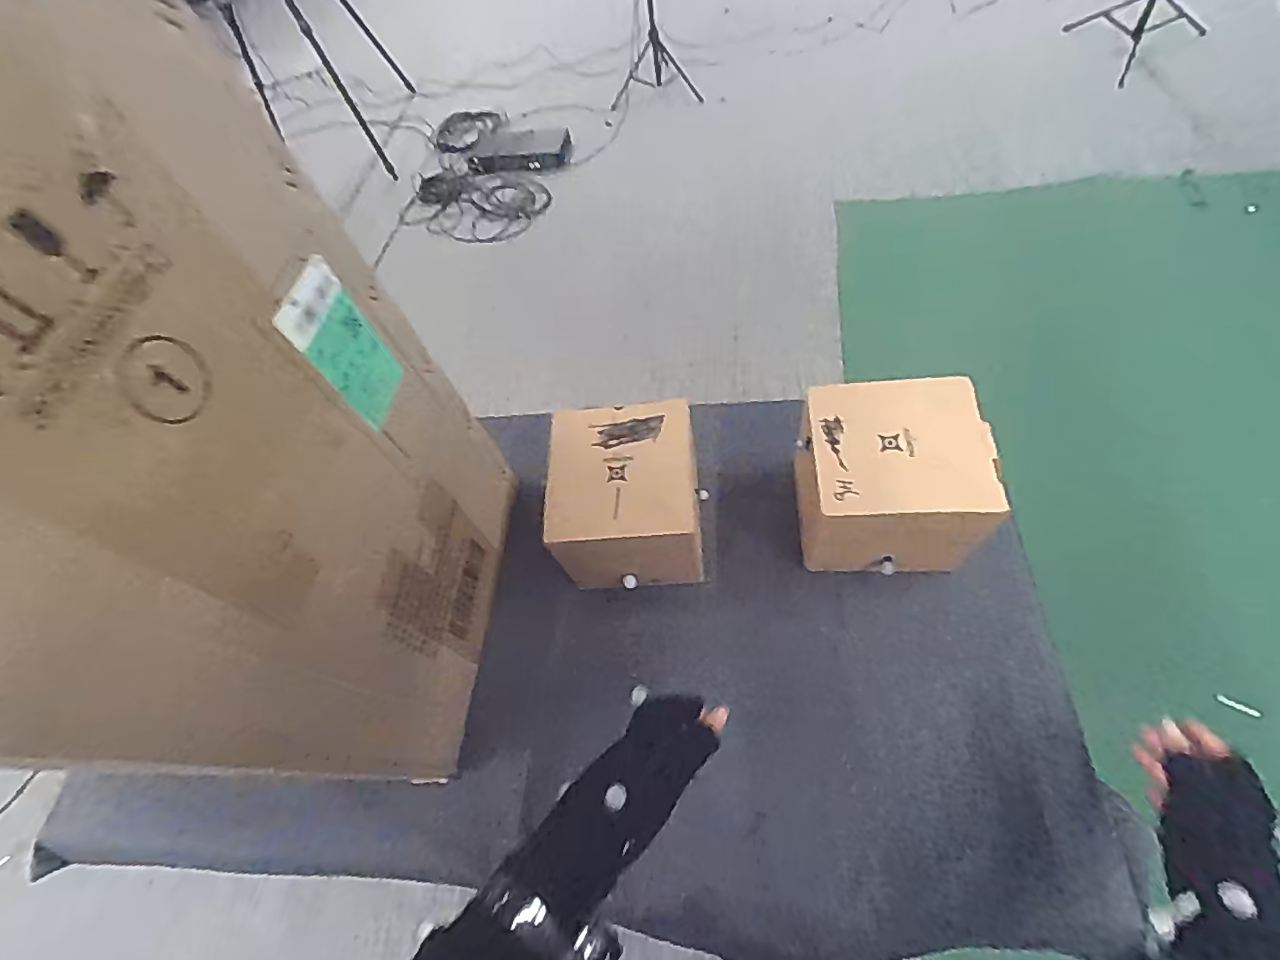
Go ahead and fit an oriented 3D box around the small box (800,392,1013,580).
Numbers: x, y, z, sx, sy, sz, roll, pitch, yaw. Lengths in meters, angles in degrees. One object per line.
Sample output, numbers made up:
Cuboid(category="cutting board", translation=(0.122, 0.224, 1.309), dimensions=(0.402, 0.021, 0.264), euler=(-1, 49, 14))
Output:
Cuboid(category="small box", translation=(0.294, 0.014, 0.644), dimensions=(0.179, 0.176, 0.168), euler=(-1, 60, 9))
